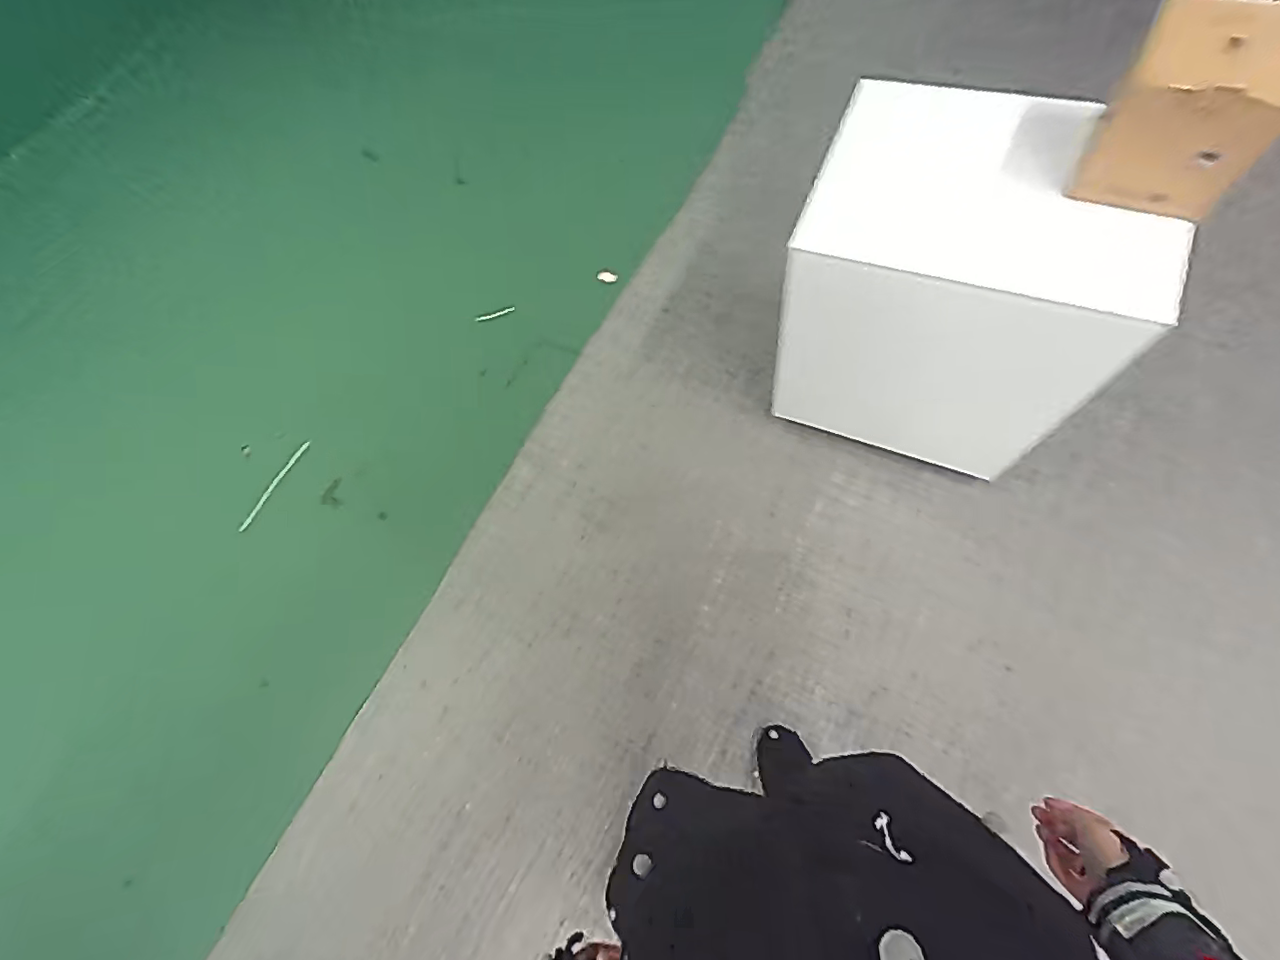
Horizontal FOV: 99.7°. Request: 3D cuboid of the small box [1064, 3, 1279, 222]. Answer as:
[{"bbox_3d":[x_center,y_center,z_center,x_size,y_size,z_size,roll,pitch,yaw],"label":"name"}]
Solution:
[{"bbox_3d":[0.714,-0.483,0.723,0.168,0.176,0.179,24,74,18],"label":"small box"}]
